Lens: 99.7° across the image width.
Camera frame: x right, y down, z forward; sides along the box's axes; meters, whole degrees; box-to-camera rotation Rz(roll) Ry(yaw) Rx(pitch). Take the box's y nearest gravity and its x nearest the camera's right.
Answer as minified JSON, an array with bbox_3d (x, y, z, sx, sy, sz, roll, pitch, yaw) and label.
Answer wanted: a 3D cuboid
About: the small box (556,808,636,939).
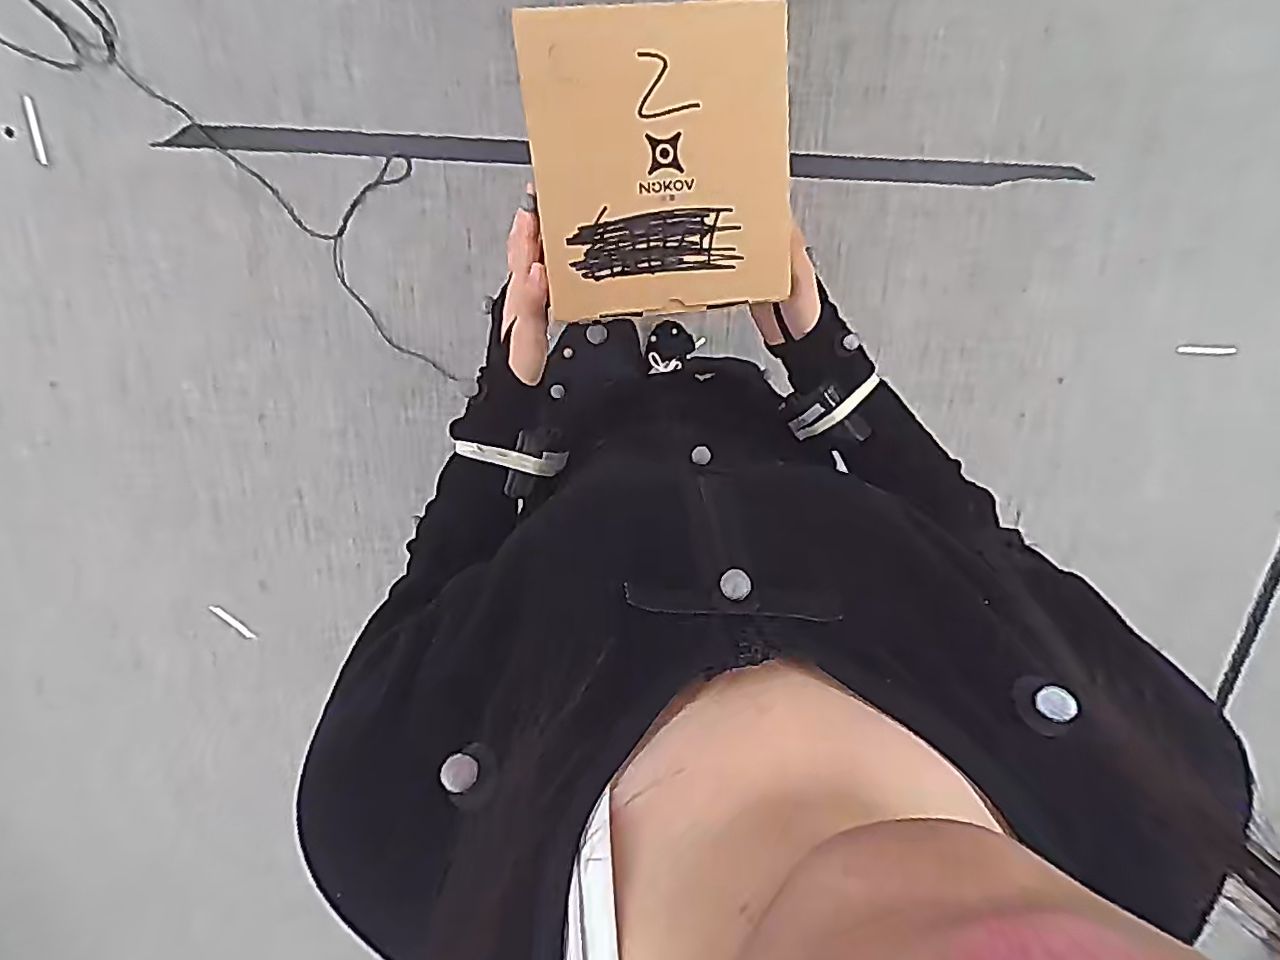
[{"bbox_3d":[-0.094,0.883,1.219,0.168,0.176,0.179,1,105,0],"label":"small box"}]

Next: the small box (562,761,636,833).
[{"bbox_3d":[-0.099,0.844,1.377,0.179,0.176,0.168,1,106,1],"label":"small box"}]
